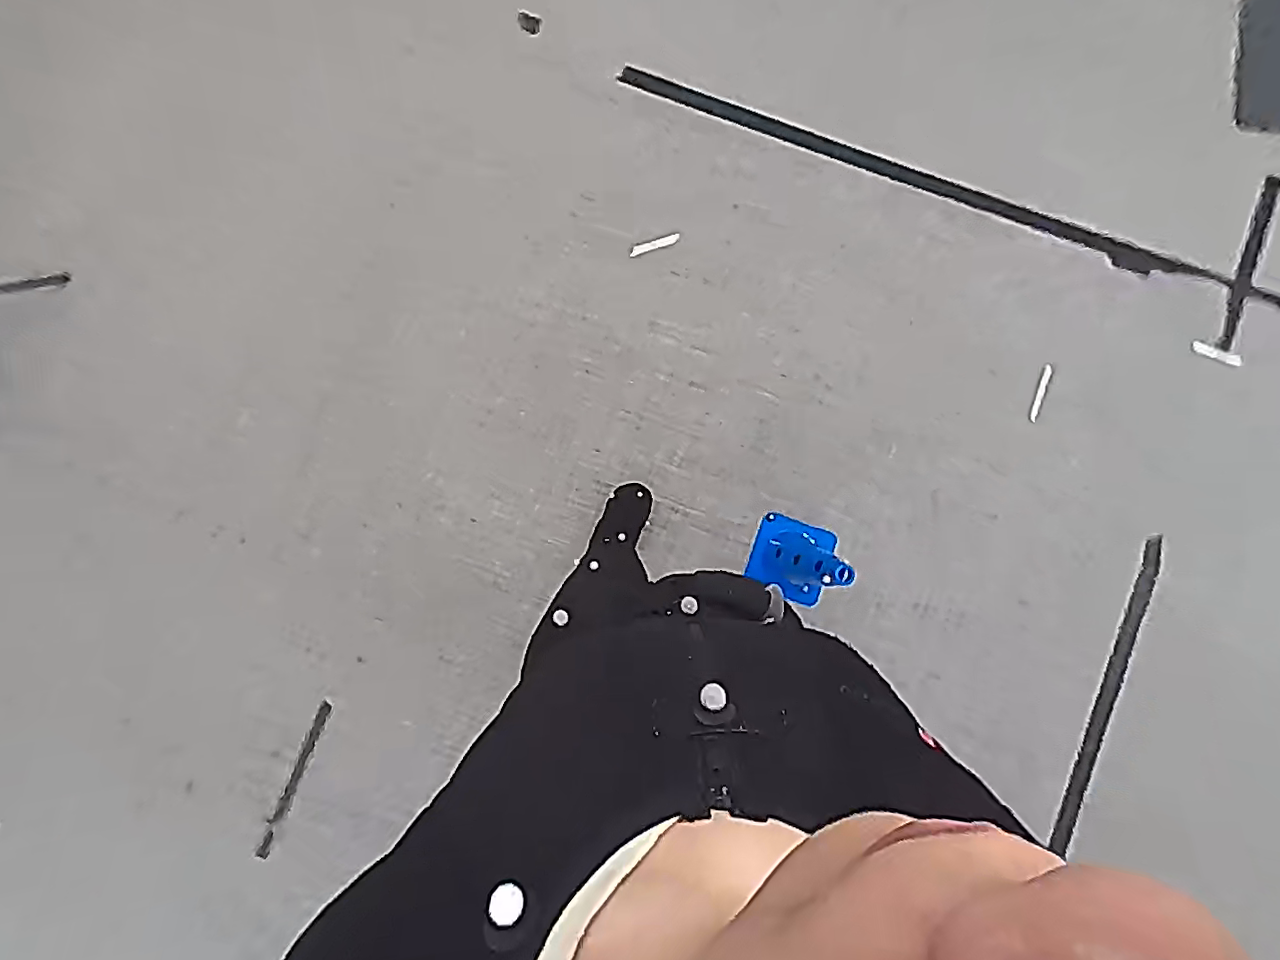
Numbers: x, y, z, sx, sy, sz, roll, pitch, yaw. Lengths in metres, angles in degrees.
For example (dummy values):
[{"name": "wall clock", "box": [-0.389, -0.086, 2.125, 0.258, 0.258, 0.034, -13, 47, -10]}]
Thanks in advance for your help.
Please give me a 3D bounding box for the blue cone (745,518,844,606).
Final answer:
[{"name": "blue cone", "box": [0.376, 0.197, 1.200, 0.192, 0.380, 0.193, 21, 86, 1]}]
